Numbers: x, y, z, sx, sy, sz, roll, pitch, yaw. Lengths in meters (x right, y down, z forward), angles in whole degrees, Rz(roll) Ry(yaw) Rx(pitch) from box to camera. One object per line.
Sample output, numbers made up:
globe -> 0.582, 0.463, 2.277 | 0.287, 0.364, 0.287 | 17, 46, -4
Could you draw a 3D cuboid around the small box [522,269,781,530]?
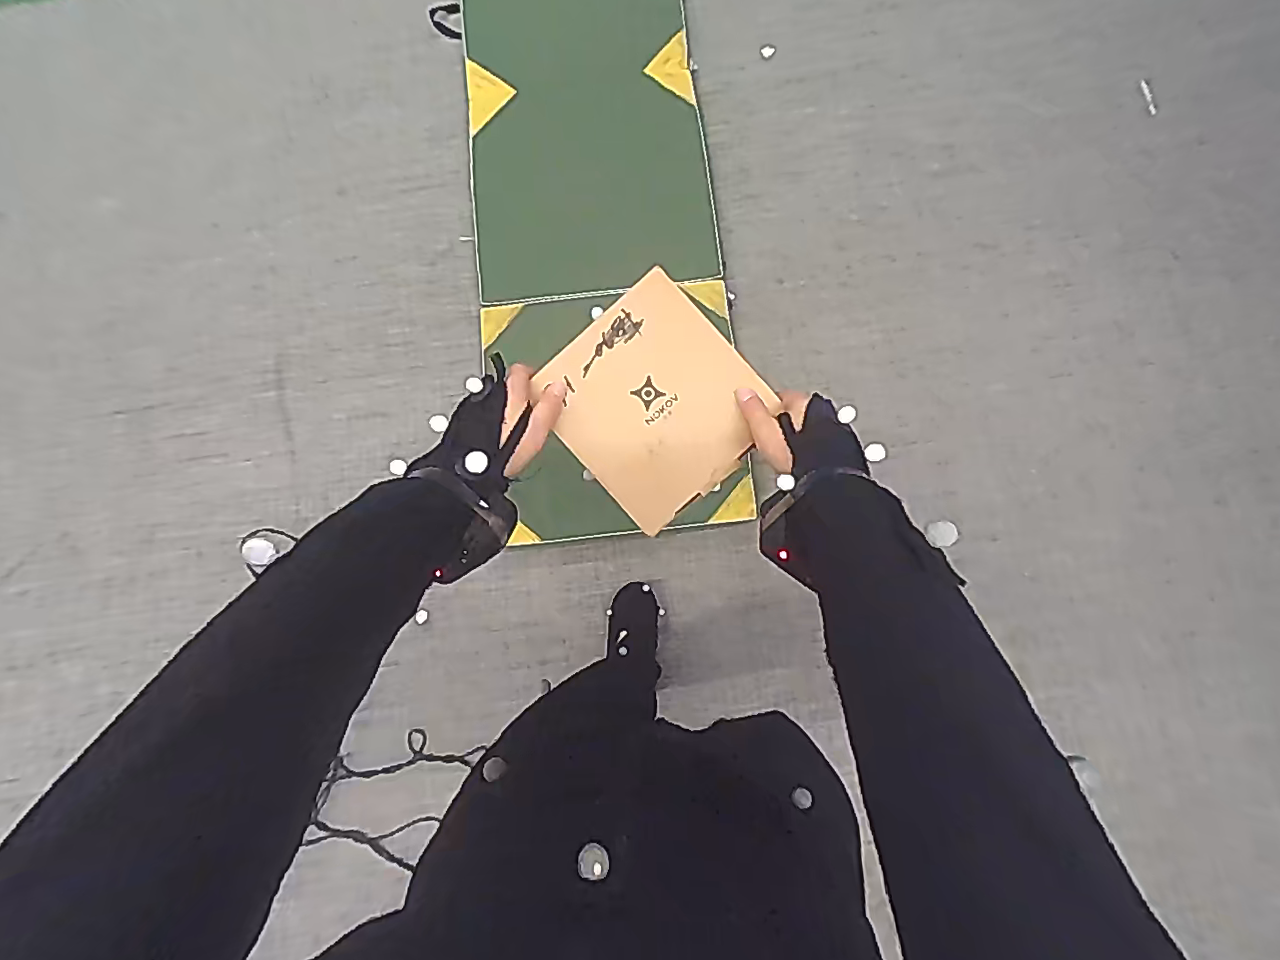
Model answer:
small box -> 0.011, -0.073, 0.558 | 0.168, 0.176, 0.179 | -42, 90, 0
